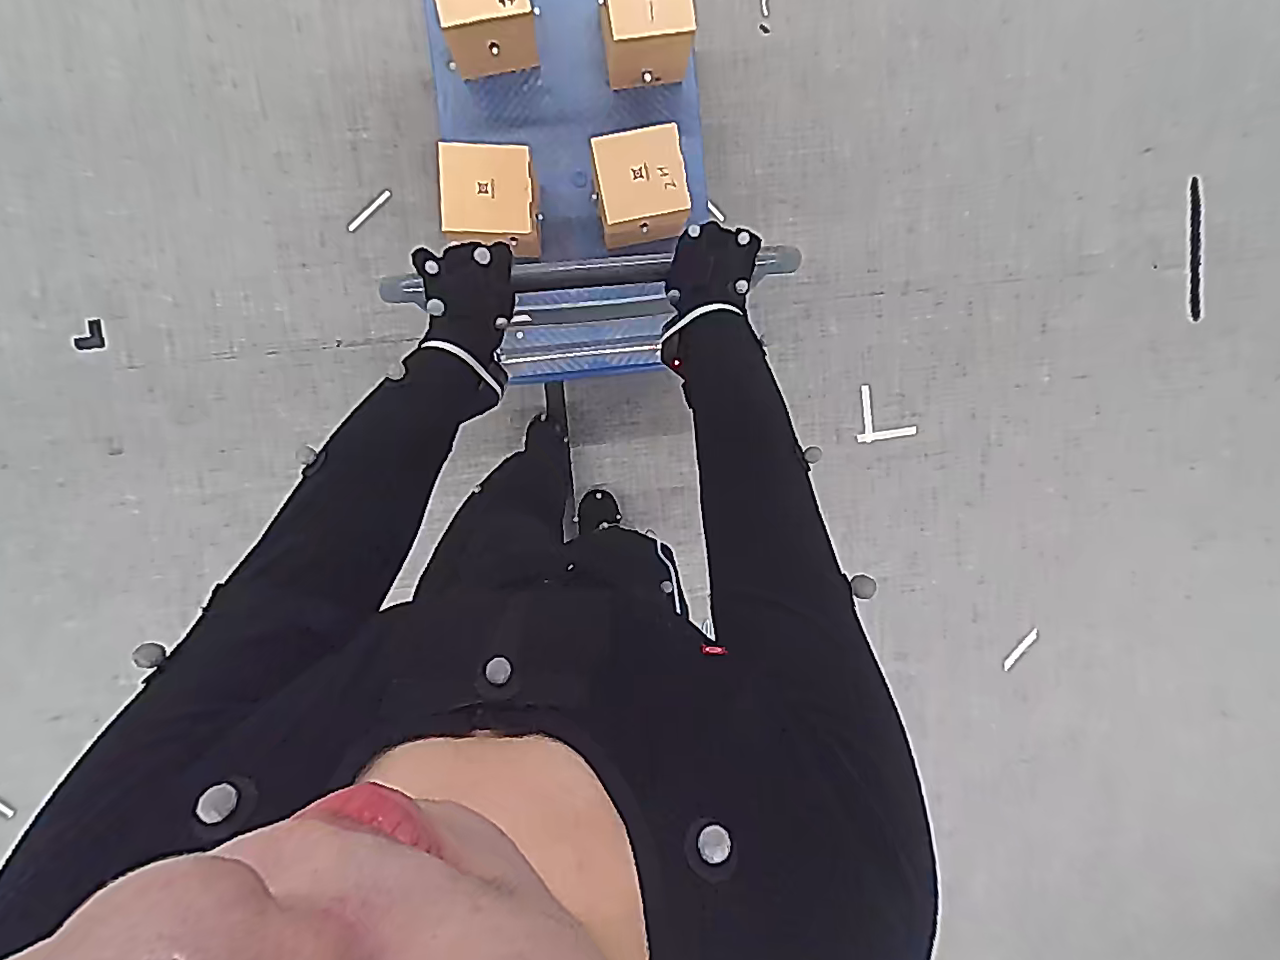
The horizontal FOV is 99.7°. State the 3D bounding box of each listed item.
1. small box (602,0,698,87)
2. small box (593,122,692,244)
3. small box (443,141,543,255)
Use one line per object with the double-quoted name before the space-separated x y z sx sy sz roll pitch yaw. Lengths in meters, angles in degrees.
"small box" 0.014 -0.957 1.113 0.168 0.176 0.179 -9 99 -3
"small box" 0.003 -0.622 1.154 0.179 0.176 0.168 -12 98 -2
"small box" -0.301 -0.584 1.138 0.179 0.176 0.168 -1 97 -5
